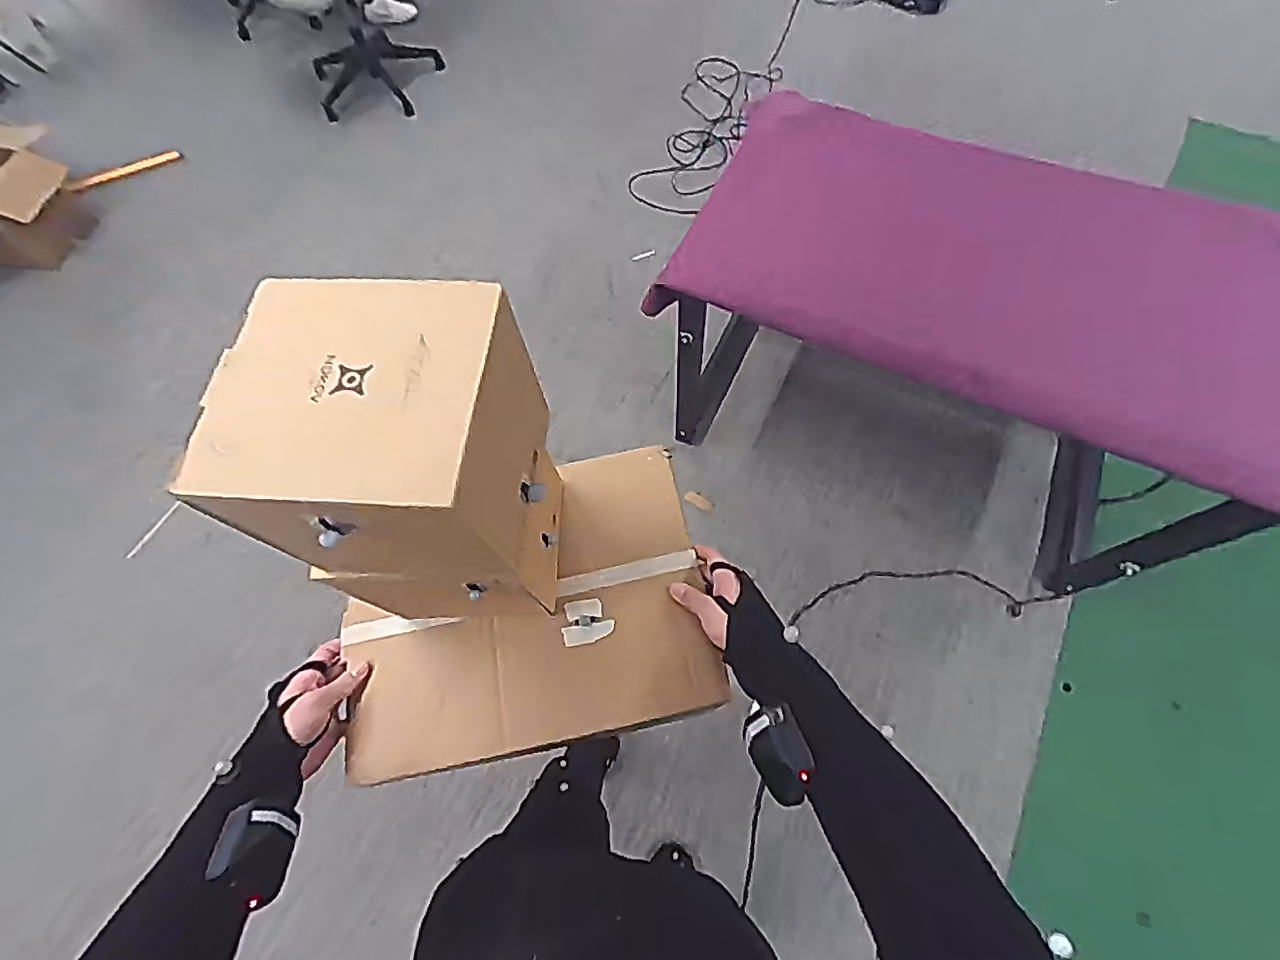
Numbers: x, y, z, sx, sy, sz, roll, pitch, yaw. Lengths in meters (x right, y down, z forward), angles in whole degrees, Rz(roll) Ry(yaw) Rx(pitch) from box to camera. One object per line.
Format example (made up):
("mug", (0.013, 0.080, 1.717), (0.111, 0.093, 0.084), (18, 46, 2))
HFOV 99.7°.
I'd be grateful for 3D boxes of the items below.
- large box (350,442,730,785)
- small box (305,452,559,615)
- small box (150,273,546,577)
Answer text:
("large box", (-0.123, 0.191, 0.747), (0.408, 0.320, 0.320), (-12, 66, -2))
("small box", (-0.191, 0.040, 0.554), (0.179, 0.176, 0.168), (-2, 64, 3))
("small box", (-0.183, -0.030, 0.406), (0.179, 0.176, 0.168), (3, 66, 5))
